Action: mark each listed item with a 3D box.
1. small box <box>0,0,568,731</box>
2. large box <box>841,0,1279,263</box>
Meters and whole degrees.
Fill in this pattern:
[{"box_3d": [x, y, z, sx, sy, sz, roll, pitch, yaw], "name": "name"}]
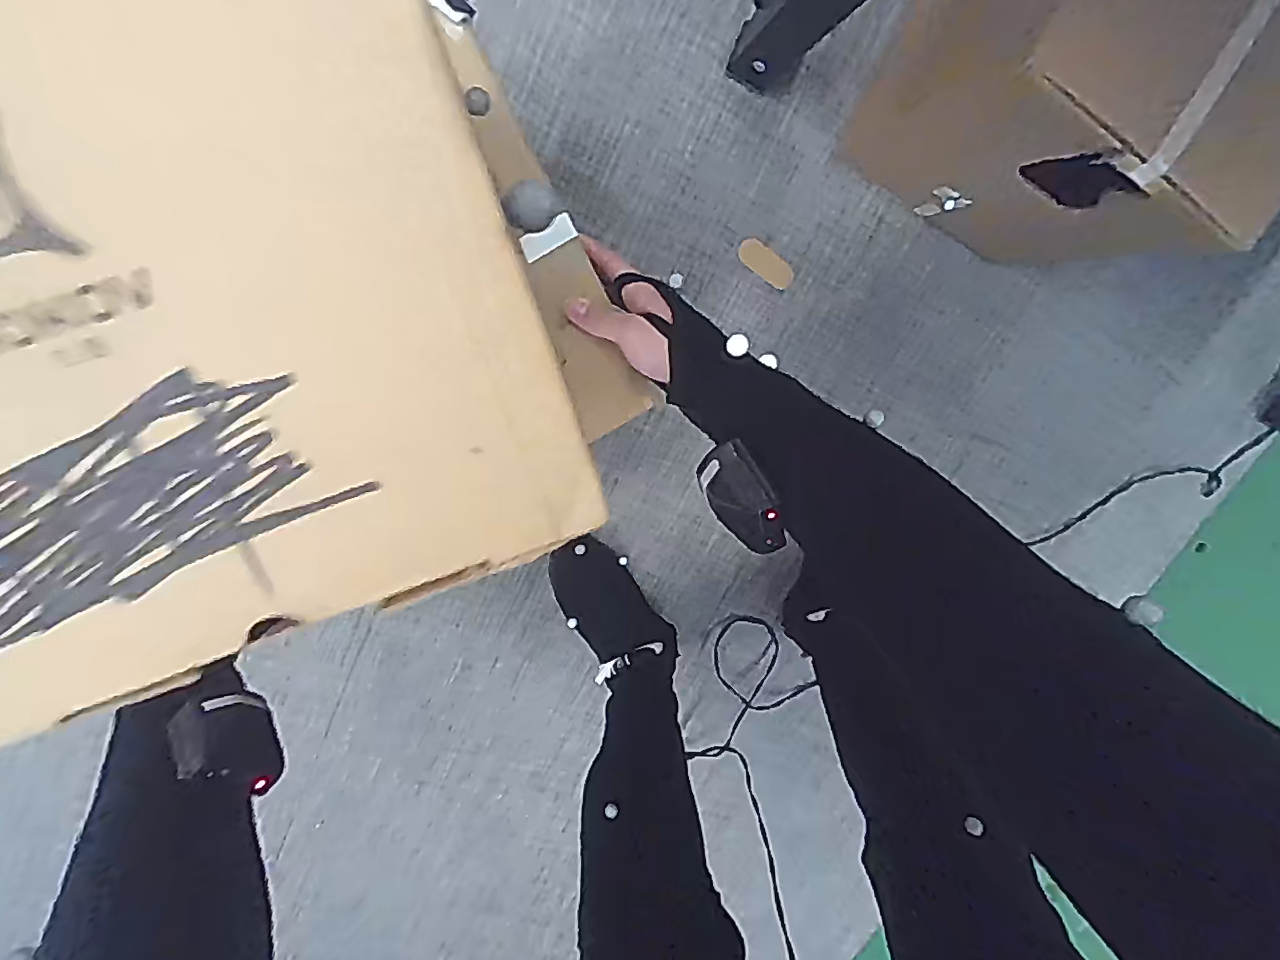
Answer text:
[{"box_3d": [-0.128, -0.066, 0.160, 0.168, 0.176, 0.179, -20, 112, -3], "name": "small box"}, {"box_3d": [0.490, -0.490, 0.555, 0.320, 0.320, 0.408, 22, 103, -17], "name": "large box"}]
